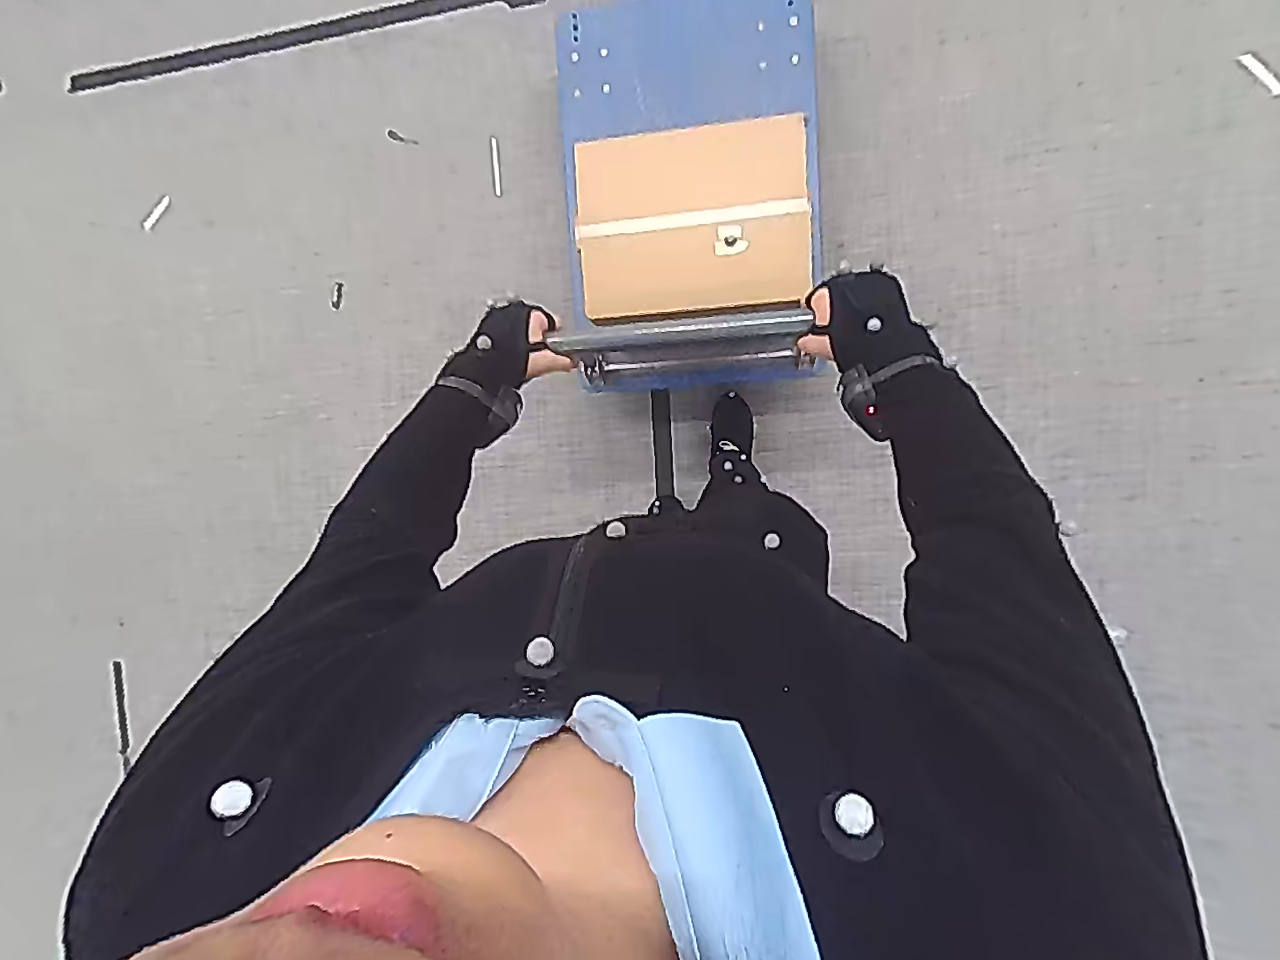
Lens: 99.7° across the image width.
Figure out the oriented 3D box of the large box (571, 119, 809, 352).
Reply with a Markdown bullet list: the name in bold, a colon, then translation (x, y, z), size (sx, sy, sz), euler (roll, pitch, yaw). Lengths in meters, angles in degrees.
- **large box**: translation (0.100, -0.456, 1.095), size (0.408, 0.320, 0.320), euler (-3, 94, 7)
